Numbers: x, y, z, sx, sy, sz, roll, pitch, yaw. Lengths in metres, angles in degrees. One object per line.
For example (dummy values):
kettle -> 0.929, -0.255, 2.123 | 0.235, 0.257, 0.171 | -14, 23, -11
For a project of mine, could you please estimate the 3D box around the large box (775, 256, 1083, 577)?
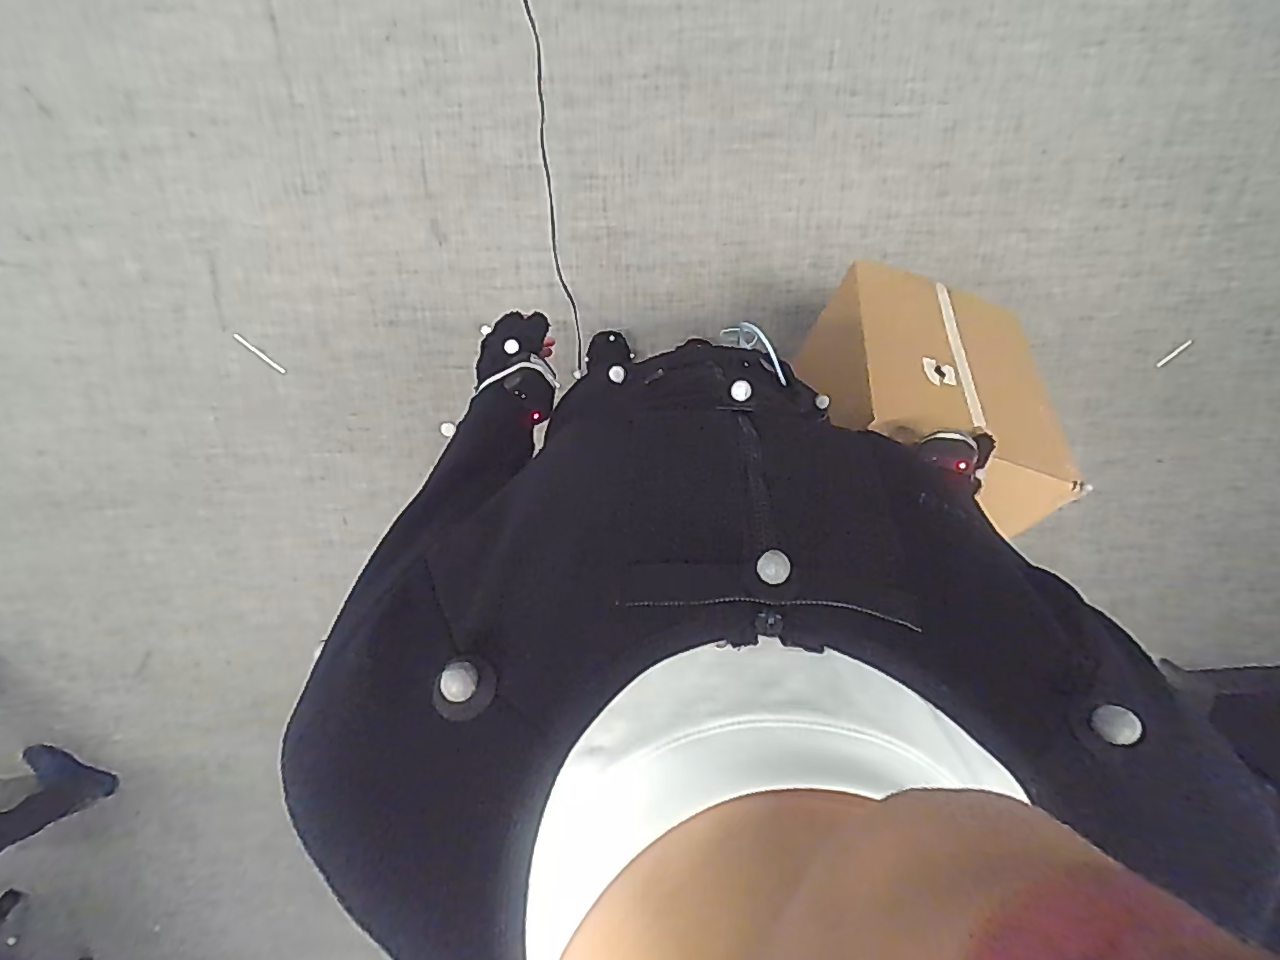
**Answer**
large box -> 0.441, -0.104, 0.939 | 0.320, 0.408, 0.320 | 16, 144, -5
